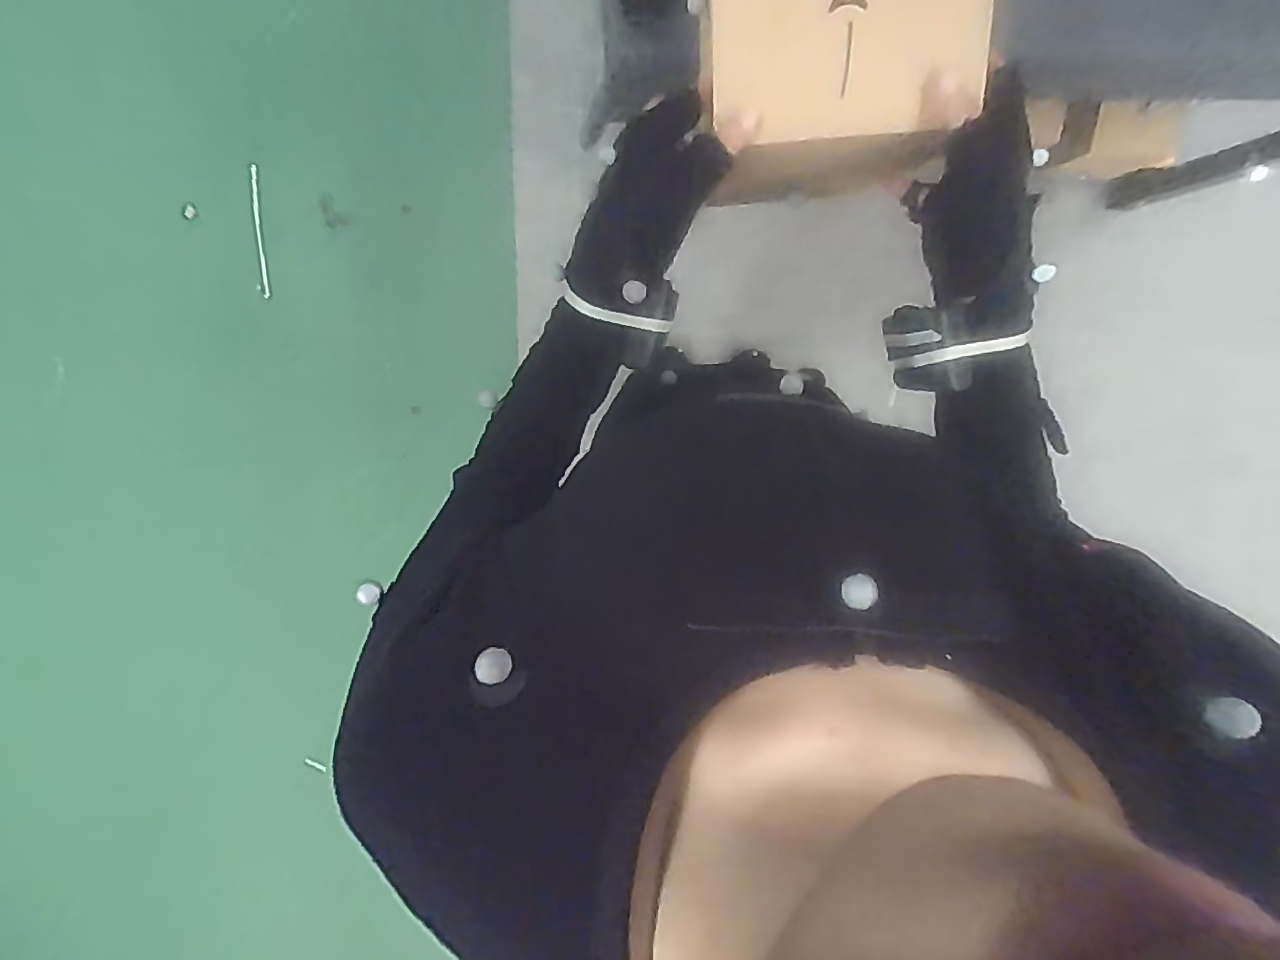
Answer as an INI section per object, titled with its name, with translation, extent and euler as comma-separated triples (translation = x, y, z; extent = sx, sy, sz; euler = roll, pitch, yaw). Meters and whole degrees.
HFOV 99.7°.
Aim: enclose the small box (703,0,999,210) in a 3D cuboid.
[small box]
translation = 0.132, -0.317, 0.393
extent = 0.168, 0.176, 0.179
euler = -2, 103, 6
